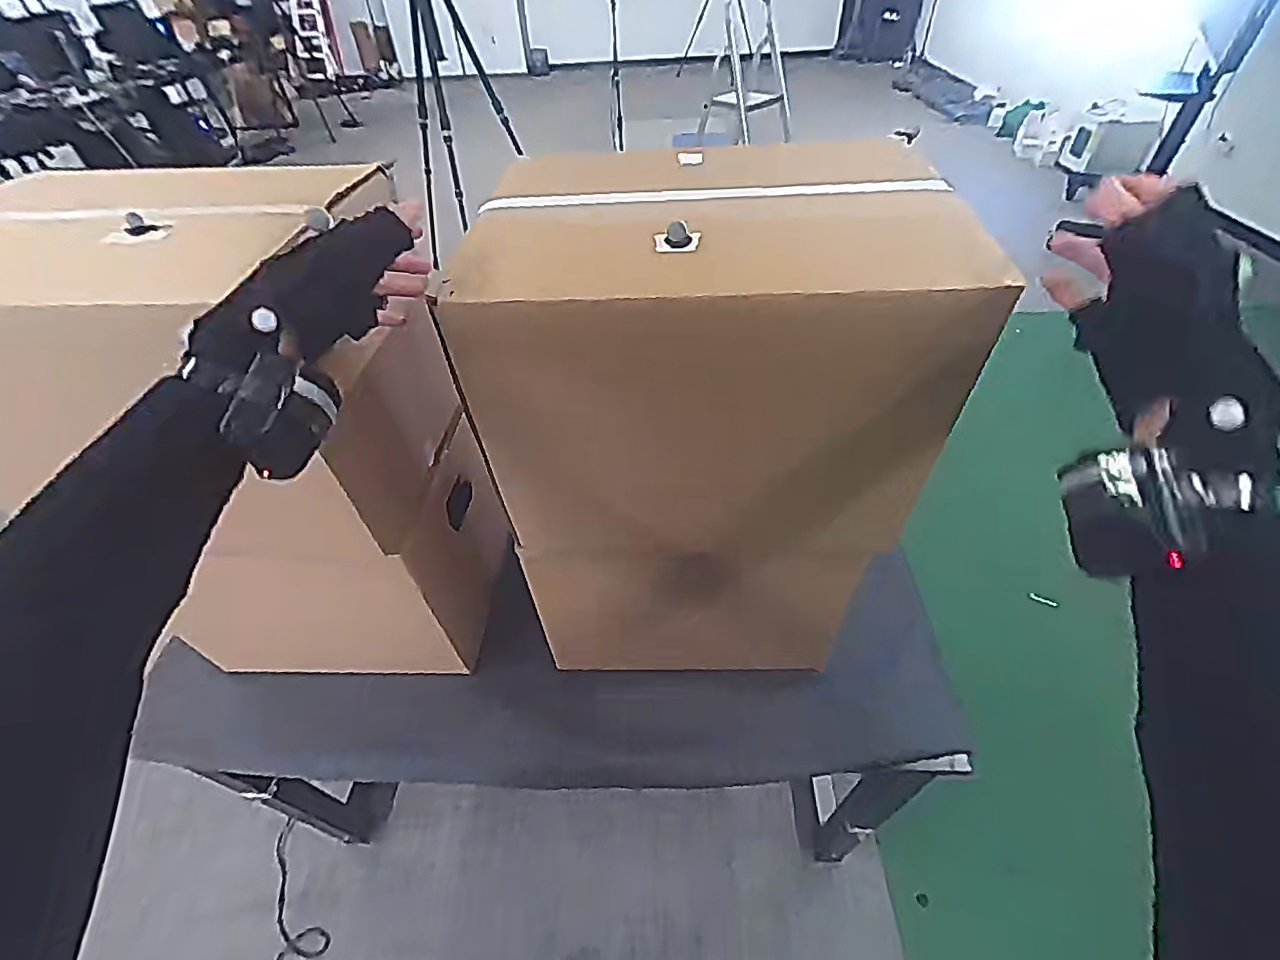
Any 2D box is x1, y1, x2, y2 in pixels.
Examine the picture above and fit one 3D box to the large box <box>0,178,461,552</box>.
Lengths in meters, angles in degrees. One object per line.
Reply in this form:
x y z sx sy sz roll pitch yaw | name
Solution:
-0.472 -0.130 0.616 0.408 0.320 0.320 1 47 2 | large box
